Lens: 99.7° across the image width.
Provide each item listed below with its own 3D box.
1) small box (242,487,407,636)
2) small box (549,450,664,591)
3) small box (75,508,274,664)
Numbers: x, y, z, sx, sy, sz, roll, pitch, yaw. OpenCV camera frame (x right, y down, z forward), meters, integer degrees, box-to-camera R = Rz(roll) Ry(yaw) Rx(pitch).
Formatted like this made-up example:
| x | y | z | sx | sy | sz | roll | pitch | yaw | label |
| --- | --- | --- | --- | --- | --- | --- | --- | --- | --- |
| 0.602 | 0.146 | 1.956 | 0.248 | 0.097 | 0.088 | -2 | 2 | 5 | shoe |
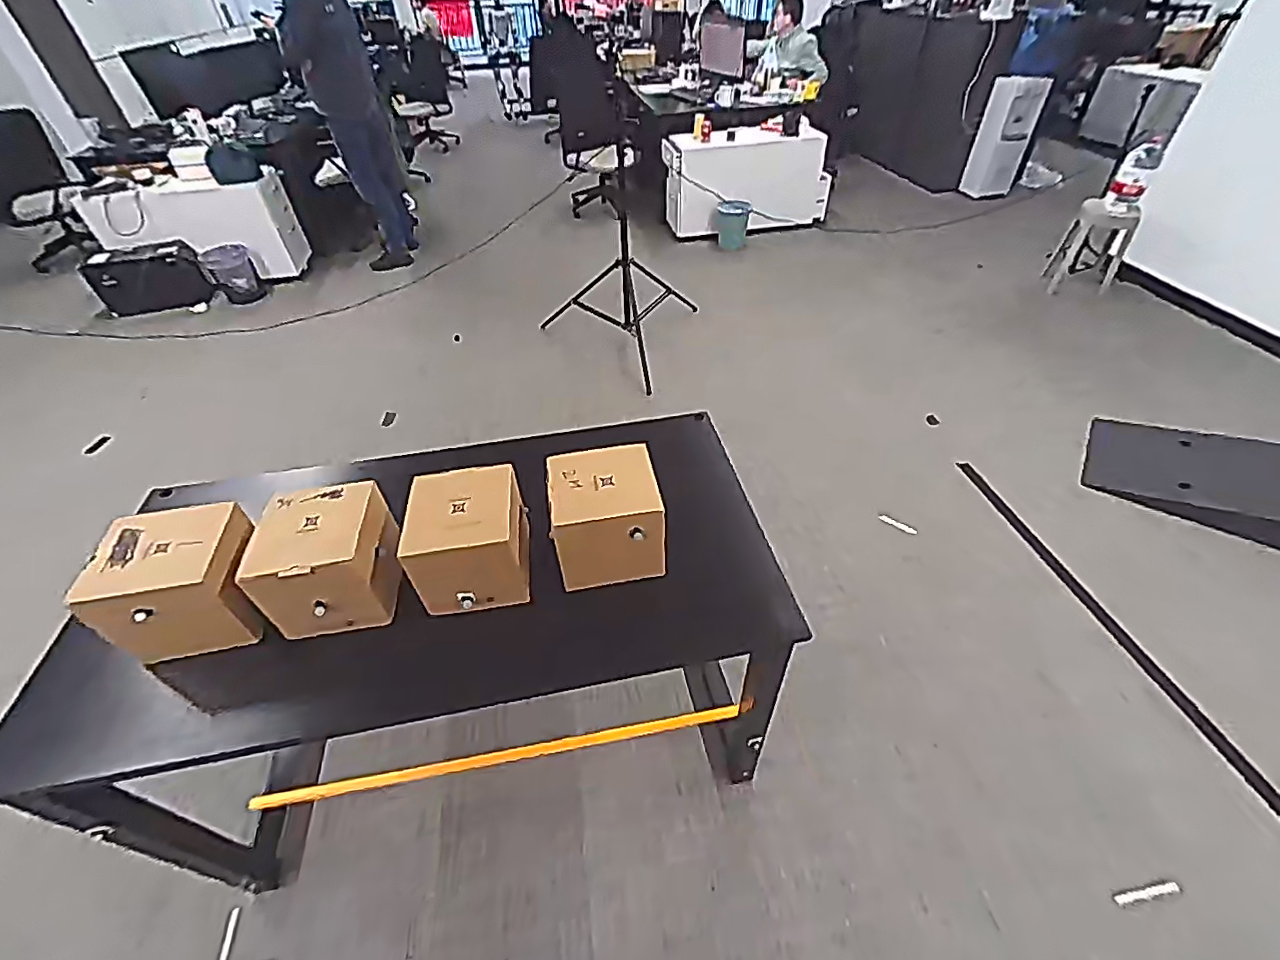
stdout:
| x | y | z | sx | sy | sz | roll | pitch | yaw | label |
| --- | --- | --- | --- | --- | --- | --- | --- | --- | --- |
| -0.503 | 0.140 | 0.895 | 0.168 | 0.176 | 0.179 | -9 | 44 | -6 | small box |
| -0.058 | 0.071 | 0.942 | 0.179 | 0.176 | 0.168 | -8 | 43 | -6 | small box |
| -0.714 | 0.172 | 0.870 | 0.179 | 0.176 | 0.168 | -9 | 44 | -9 | small box |
